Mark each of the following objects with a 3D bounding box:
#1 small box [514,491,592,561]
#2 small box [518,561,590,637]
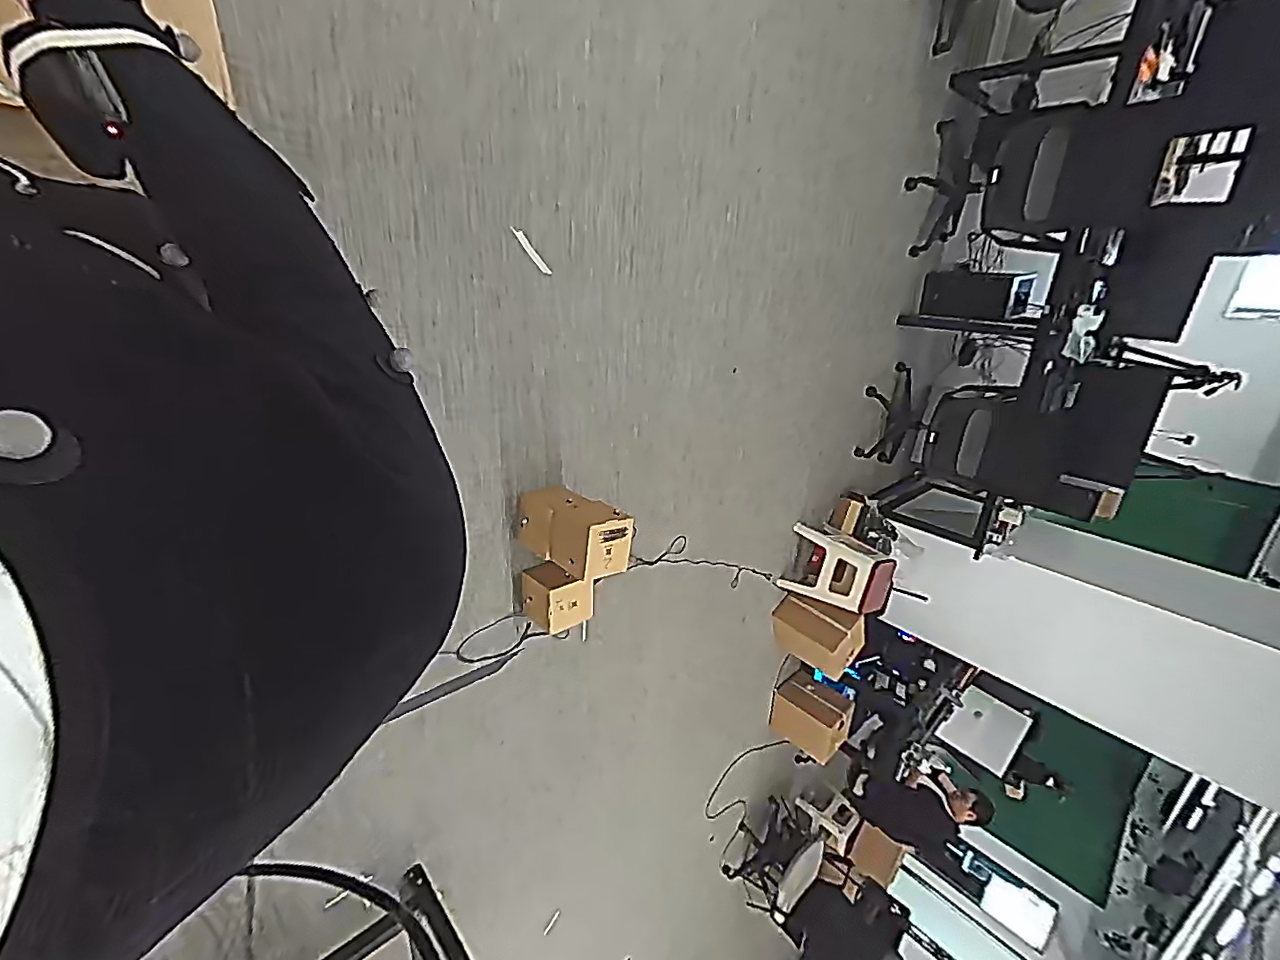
[{"bbox_3d":[-0.277,0.138,1.710,0.179,0.176,0.168,-6,110,-43],"label":"small box"},{"bbox_3d":[-0.286,0.387,1.802,0.179,0.176,0.168,-14,114,-41],"label":"small box"}]
